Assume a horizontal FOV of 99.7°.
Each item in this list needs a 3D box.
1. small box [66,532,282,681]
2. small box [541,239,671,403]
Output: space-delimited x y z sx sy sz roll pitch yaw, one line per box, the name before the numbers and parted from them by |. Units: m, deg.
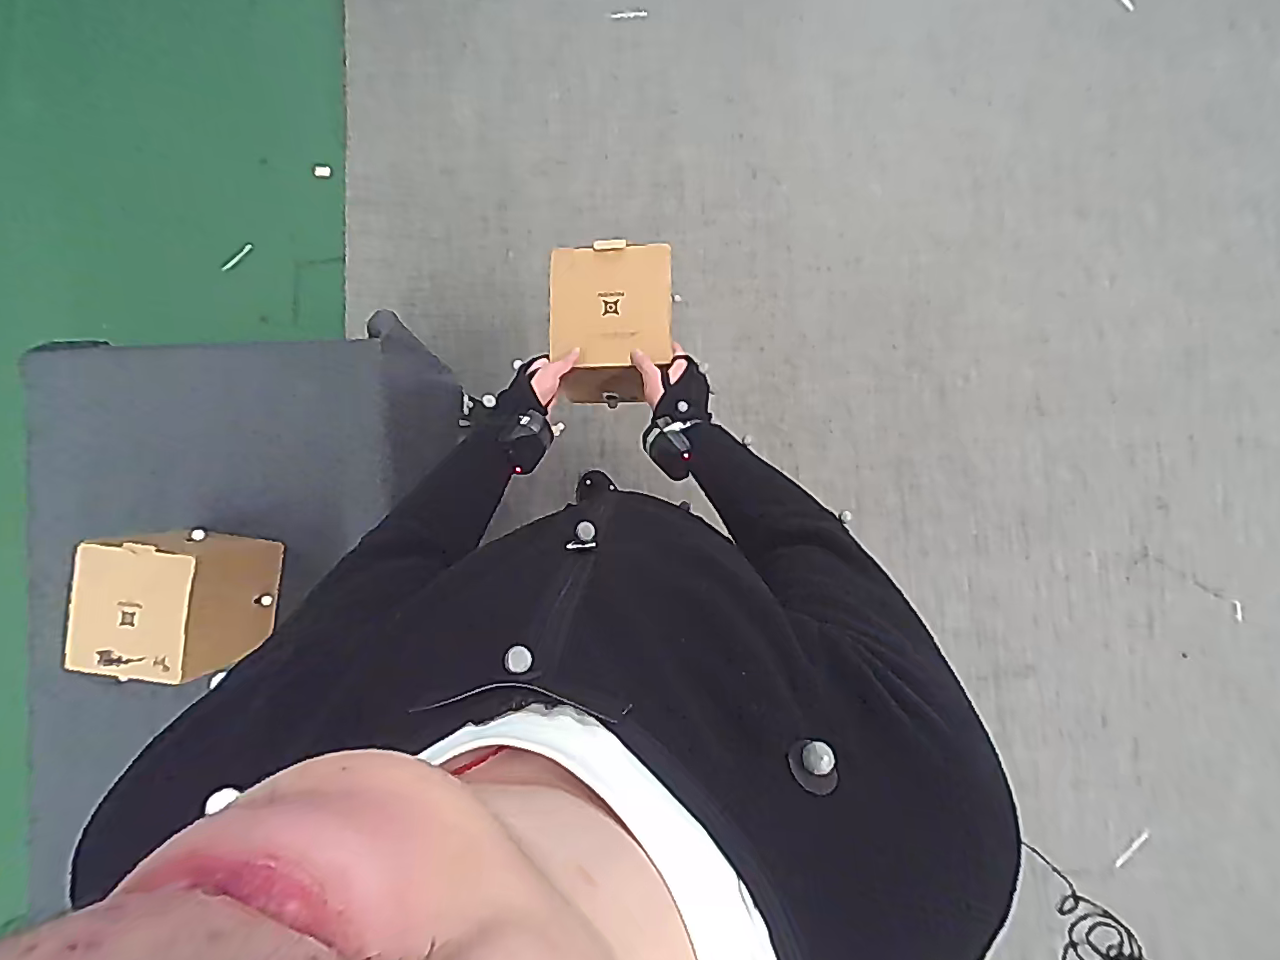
small box | -0.673 0.174 0.803 0.168 0.176 0.179 7 89 3
small box | -0.040 -0.222 0.786 0.168 0.176 0.179 0 81 4
